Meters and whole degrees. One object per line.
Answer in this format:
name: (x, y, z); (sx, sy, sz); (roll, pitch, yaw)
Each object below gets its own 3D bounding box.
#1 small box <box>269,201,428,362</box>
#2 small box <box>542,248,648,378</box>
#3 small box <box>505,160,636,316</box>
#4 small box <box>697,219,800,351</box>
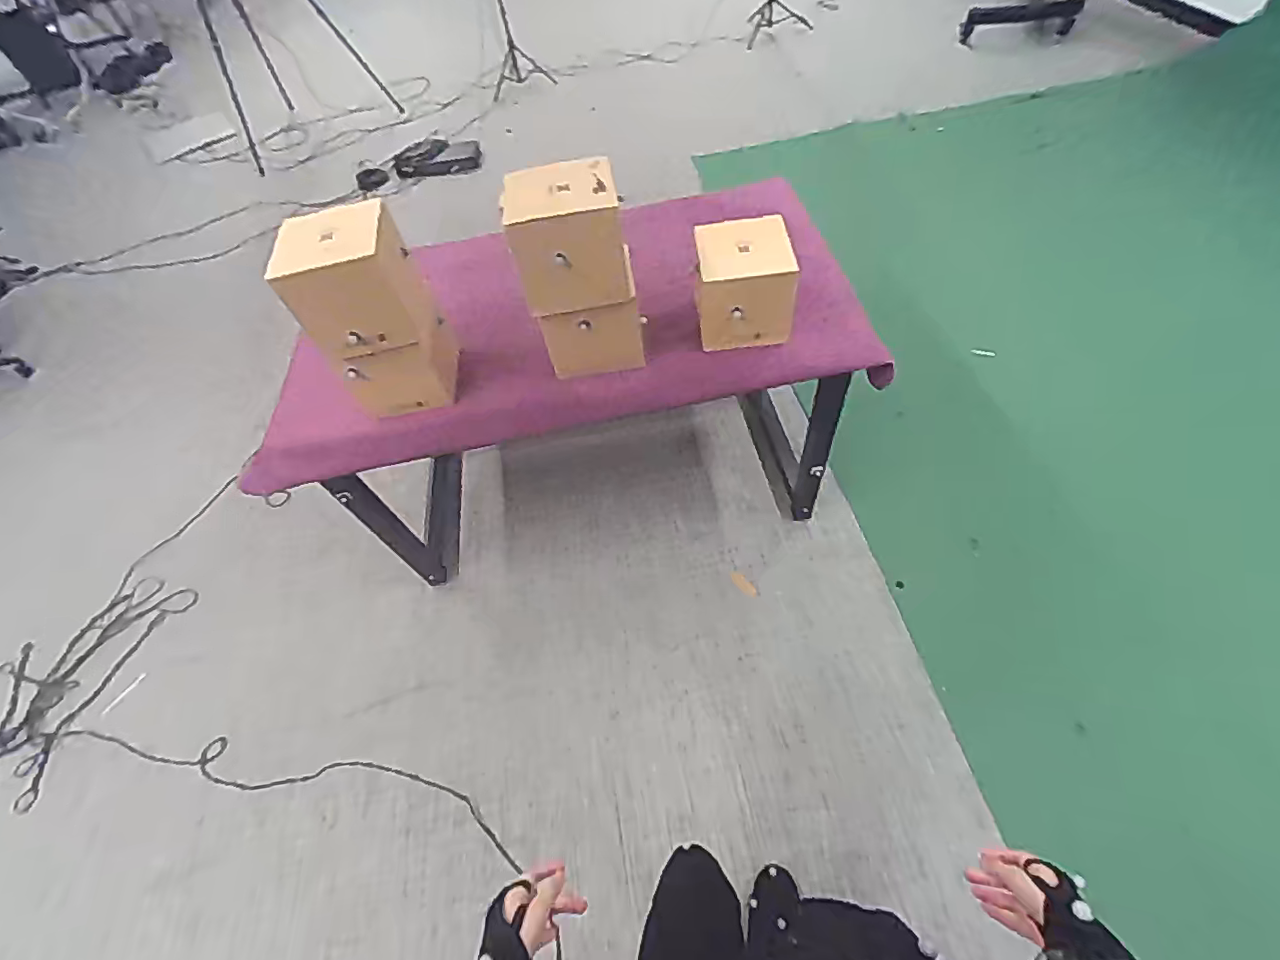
small box: (-0.466, -0.325, 0.897); (0.168, 0.176, 0.179); (-14, 54, -2)
small box: (-0.086, -0.314, 1.040); (0.179, 0.176, 0.168); (-8, 54, 2)
small box: (-0.111, -0.395, 0.898); (0.179, 0.176, 0.168); (-10, 54, 2)
small box: (0.201, -0.364, 1.037); (0.168, 0.176, 0.179); (-6, 55, 4)
